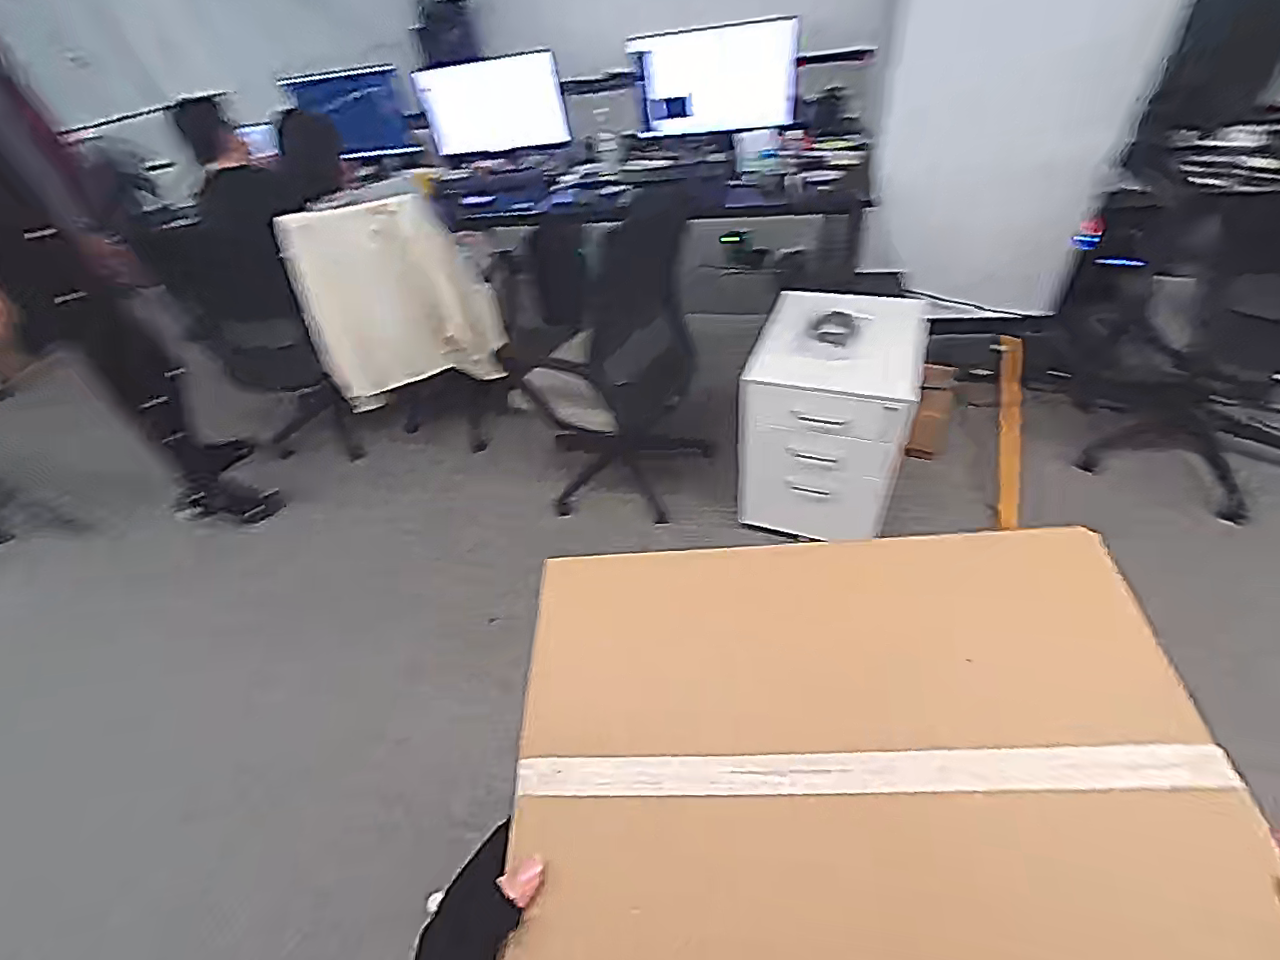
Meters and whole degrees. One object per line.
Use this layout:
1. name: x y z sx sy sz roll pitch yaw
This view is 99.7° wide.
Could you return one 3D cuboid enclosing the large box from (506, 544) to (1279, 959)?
1. large box: 0.142 0.275 0.444 0.408 0.320 0.320 -5 52 6
